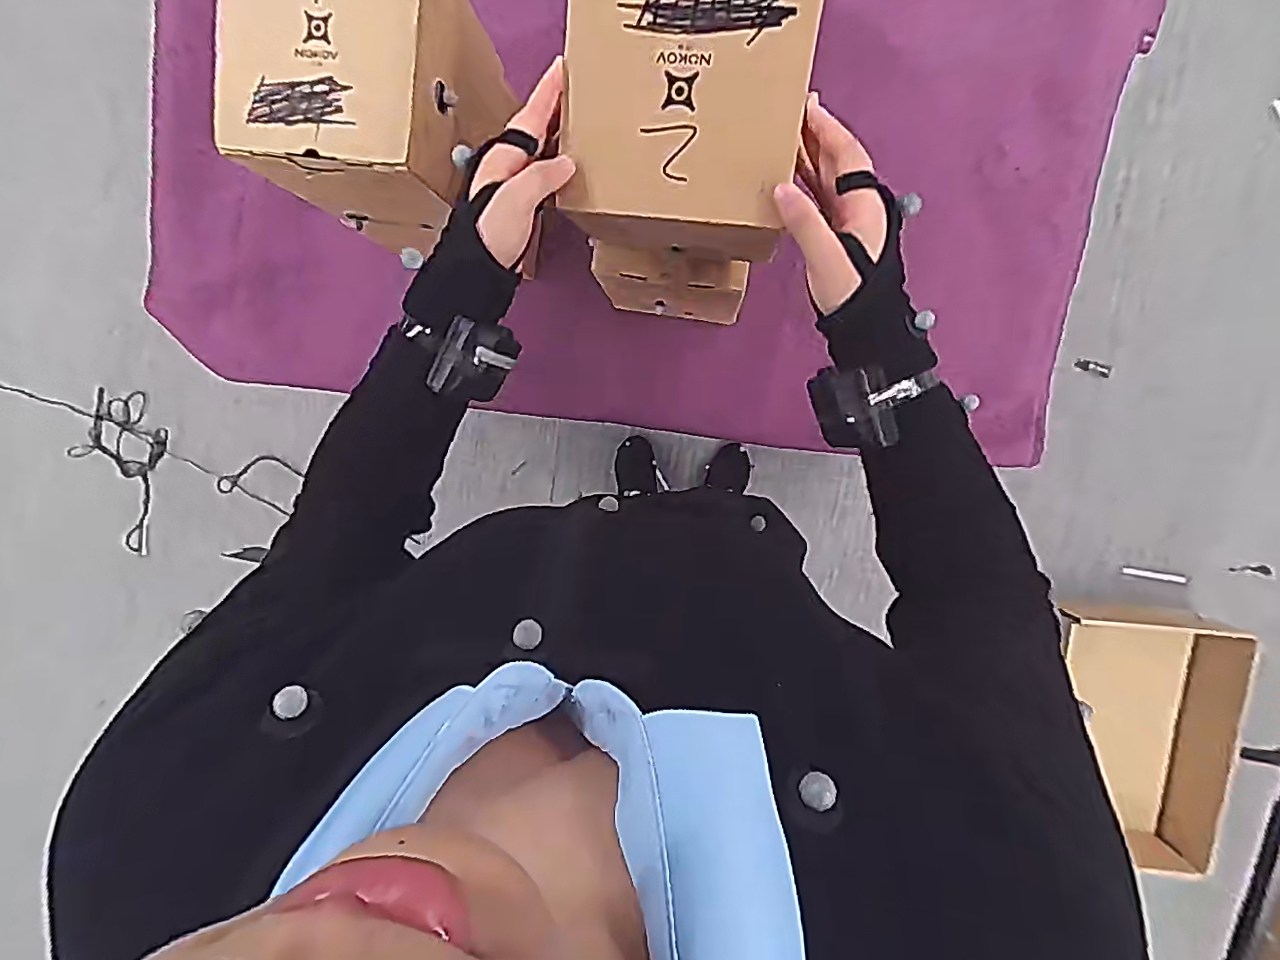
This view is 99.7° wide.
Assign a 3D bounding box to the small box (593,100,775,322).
[{"bbox_3d":[0.050,-0.299,0.636,0.168,0.176,0.179,9,97,5],"label":"small box"}]

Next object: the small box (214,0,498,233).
[{"bbox_3d":[-0.241,-0.346,0.494,0.168,0.176,0.179,8,97,5],"label":"small box"}]

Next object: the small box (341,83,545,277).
[{"bbox_3d":[-0.225,-0.357,0.657,0.179,0.176,0.168,10,97,5],"label":"small box"}]
